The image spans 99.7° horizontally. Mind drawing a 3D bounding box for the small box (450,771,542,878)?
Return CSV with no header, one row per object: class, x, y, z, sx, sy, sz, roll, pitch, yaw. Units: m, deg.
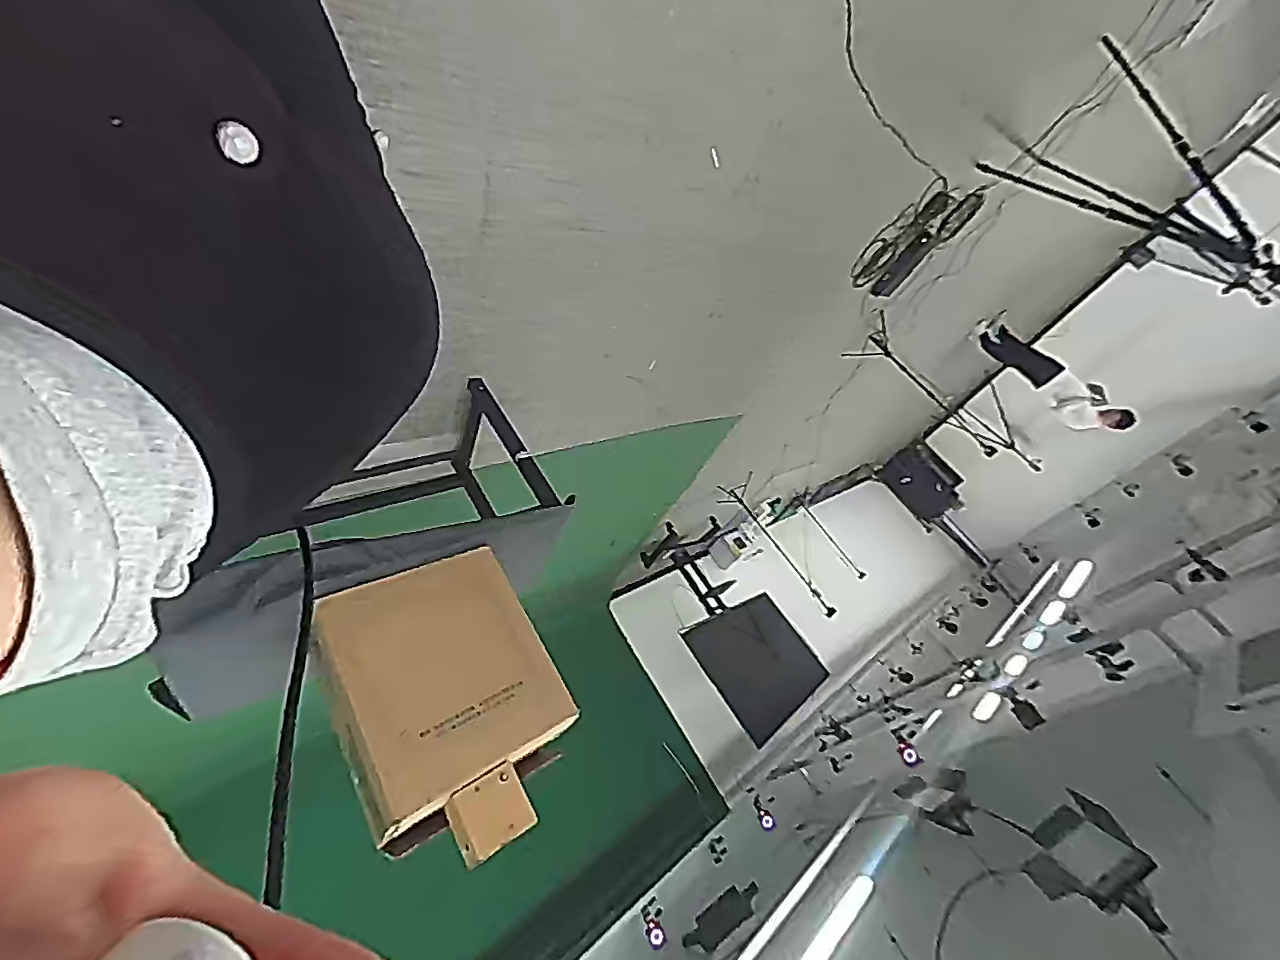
small box,-0.387,0.906,1.430,0.168,0.176,0.179,-17,152,-37
